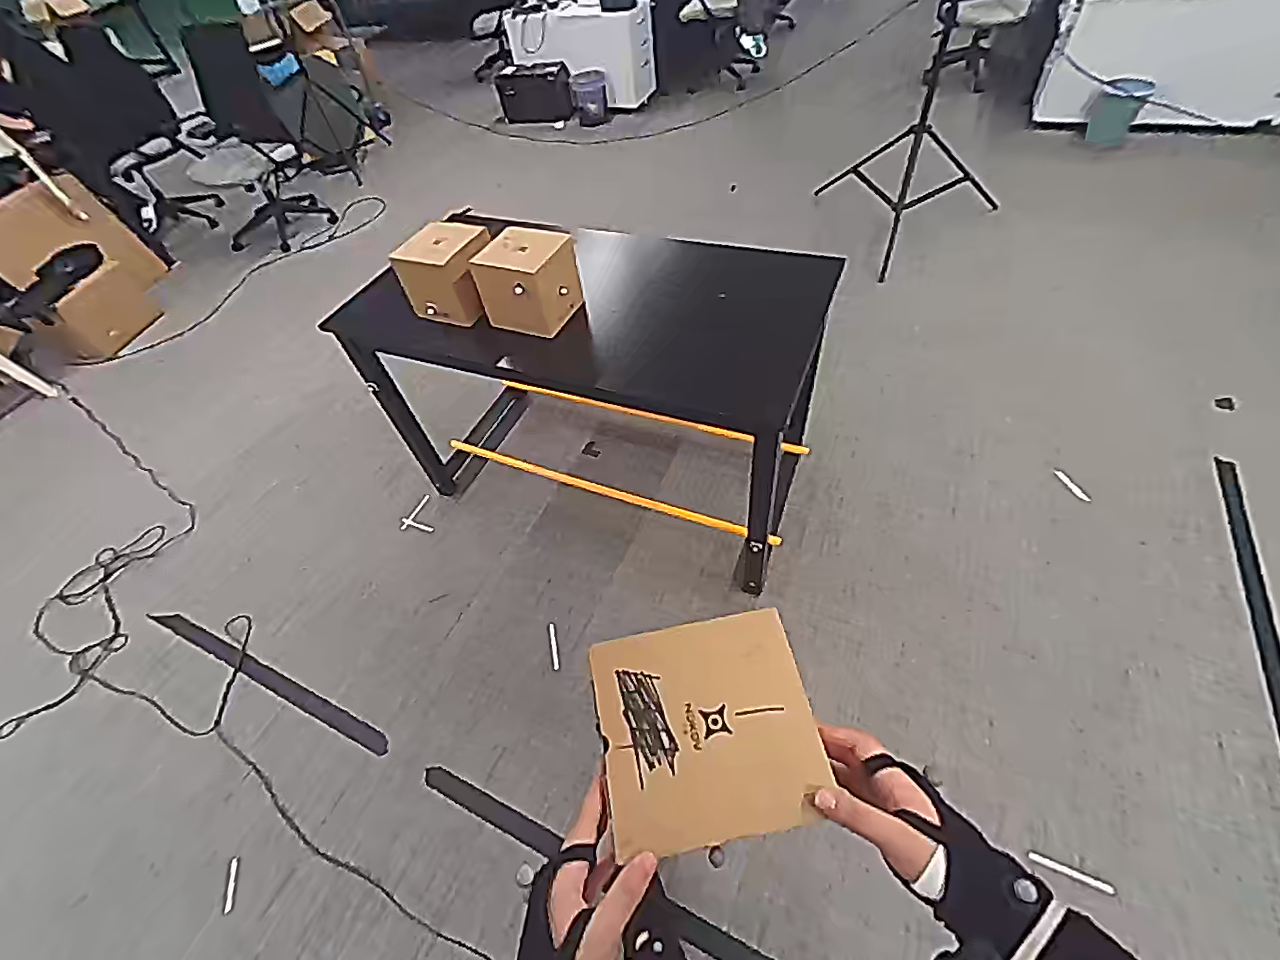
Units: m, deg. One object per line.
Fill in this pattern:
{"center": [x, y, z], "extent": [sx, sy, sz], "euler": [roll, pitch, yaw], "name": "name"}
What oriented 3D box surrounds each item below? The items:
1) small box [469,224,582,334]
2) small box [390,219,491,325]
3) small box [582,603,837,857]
{"center": [-0.253, -0.461, 1.250], "extent": [0.179, 0.176, 0.168], "euler": [17, 55, 20], "name": "small box"}
{"center": [-0.458, -0.506, 1.316], "extent": [0.168, 0.176, 0.179], "euler": [15, 56, 20], "name": "small box"}
{"center": [0.054, 0.236, 0.501], "extent": [0.179, 0.176, 0.168], "euler": [-11, 56, -3], "name": "small box"}
